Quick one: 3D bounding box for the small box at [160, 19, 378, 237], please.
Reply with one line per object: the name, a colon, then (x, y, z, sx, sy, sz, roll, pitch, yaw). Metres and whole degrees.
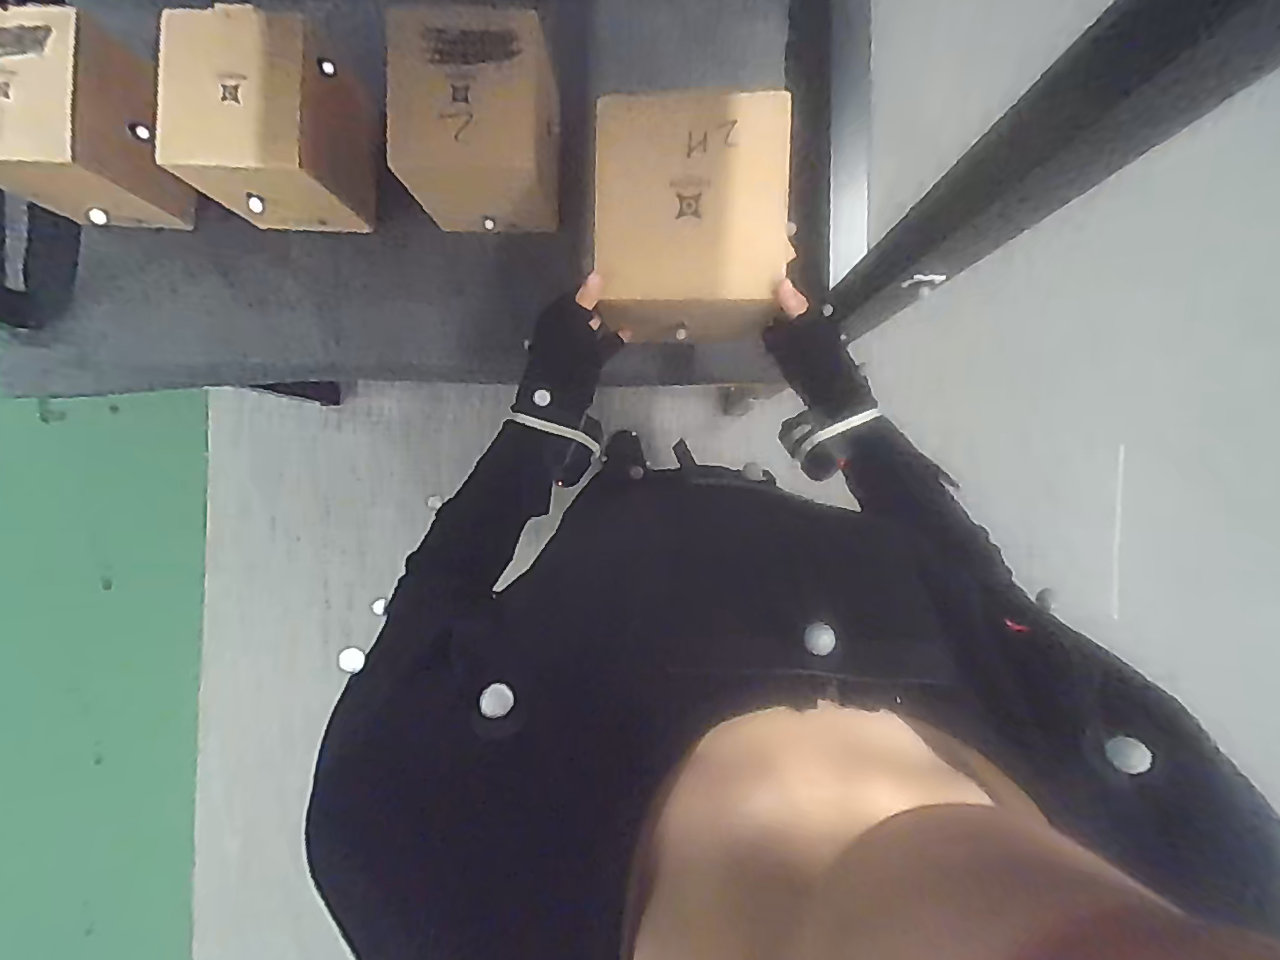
small box: (-0.455, -0.430, 0.688, 0.168, 0.176, 0.179, 2, 90, 1)

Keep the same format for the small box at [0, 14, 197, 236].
small box: (-0.707, -0.439, 0.689, 0.168, 0.176, 0.179, 3, 91, 1)

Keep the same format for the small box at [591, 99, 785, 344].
small box: (0.047, -0.240, 0.546, 0.168, 0.176, 0.179, 1, 91, 4)
